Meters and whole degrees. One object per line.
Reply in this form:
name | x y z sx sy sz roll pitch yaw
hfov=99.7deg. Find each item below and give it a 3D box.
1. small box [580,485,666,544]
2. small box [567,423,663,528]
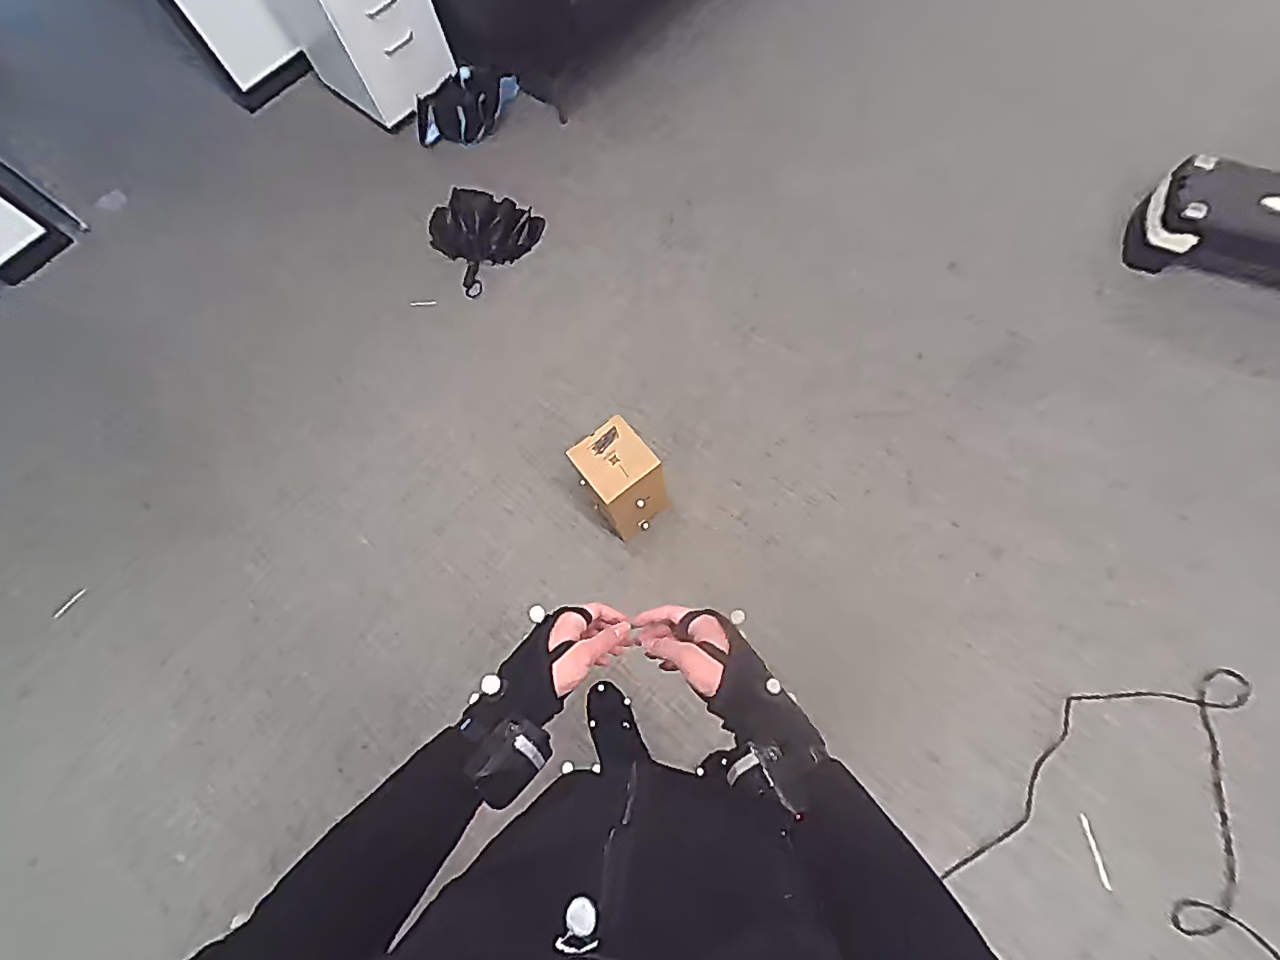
small box | -0.044 0.056 1.525 0.168 0.176 0.179 -38 71 -9
small box | -0.058 -0.005 1.373 0.168 0.176 0.179 -37 70 -8
